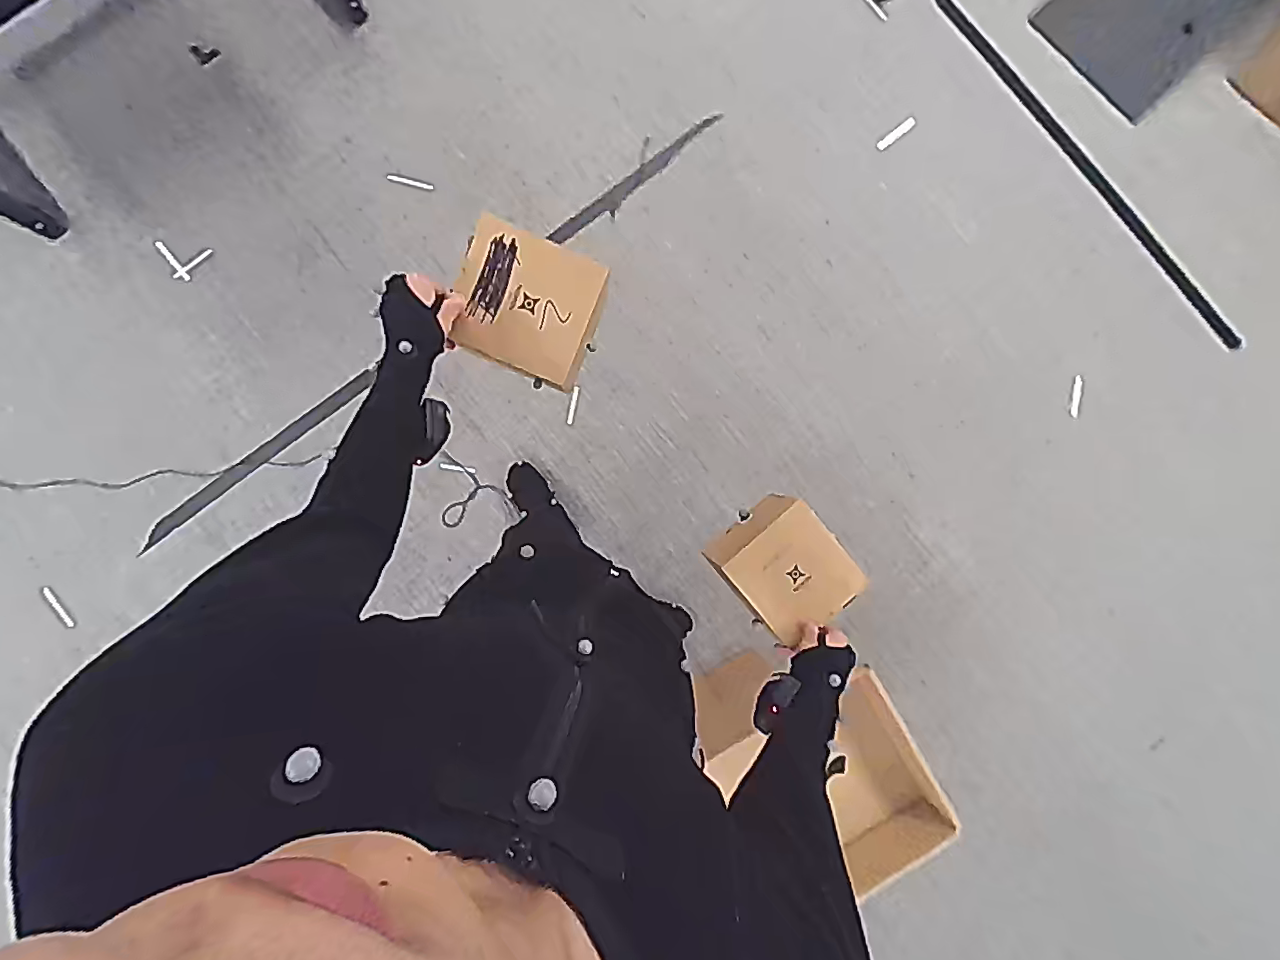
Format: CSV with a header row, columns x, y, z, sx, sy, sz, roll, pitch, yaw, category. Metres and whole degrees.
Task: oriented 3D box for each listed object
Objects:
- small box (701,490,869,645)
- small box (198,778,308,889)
x,y,z,sx,sy,sz,roll,pitch,yaw,category
0.225,0.129,0.884,0.168,0.176,0.179,-41,95,-3,small box
-1.047,0.957,1.478,0.168,0.176,0.179,-14,88,-3,small box
